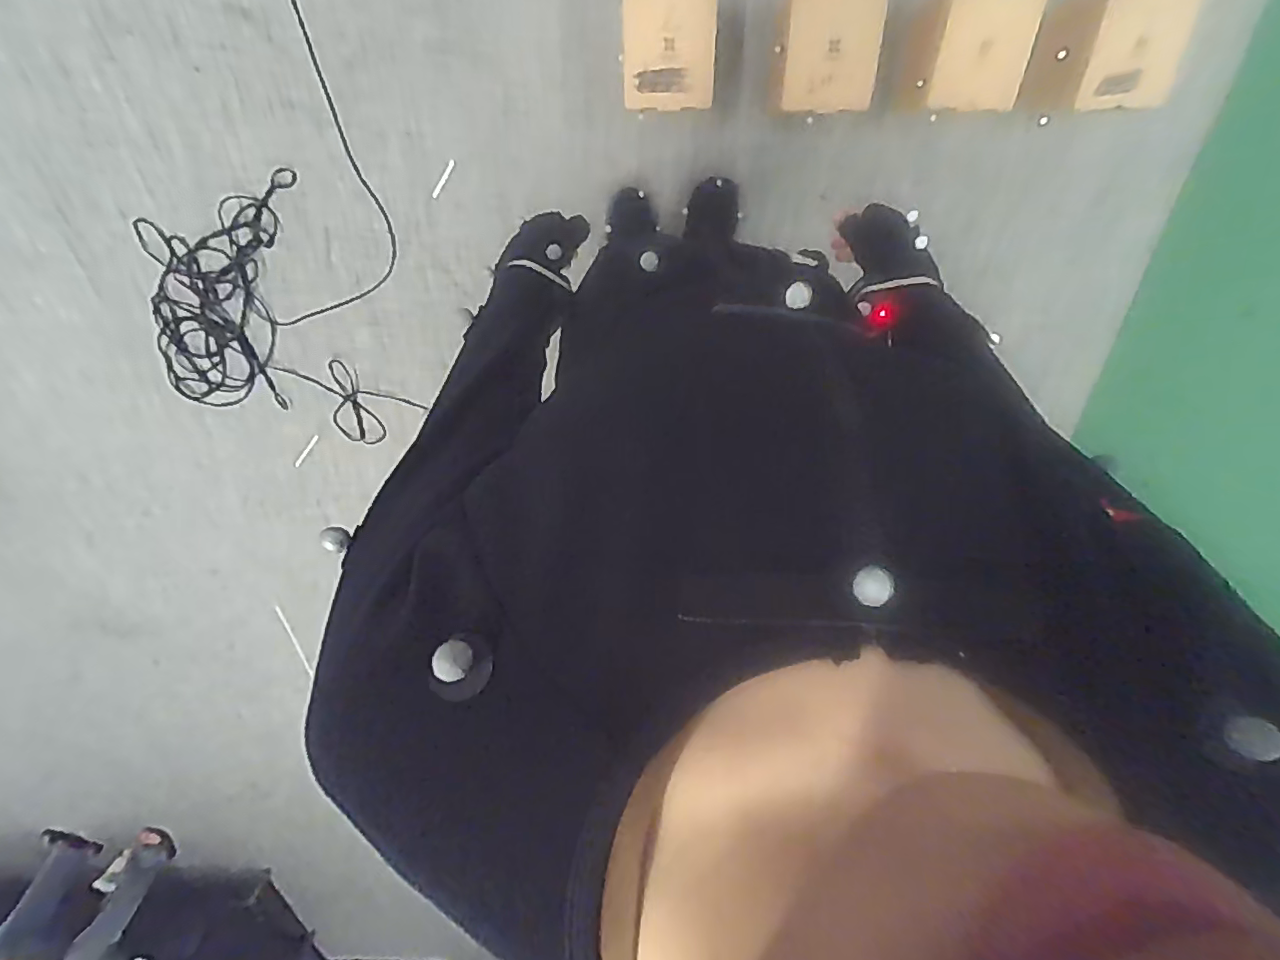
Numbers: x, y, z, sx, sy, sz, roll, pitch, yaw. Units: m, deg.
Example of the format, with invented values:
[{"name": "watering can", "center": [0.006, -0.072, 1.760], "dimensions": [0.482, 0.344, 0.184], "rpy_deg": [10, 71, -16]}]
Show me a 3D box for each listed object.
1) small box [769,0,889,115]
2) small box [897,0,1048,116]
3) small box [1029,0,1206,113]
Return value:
[{"name": "small box", "center": [0.349, -0.807, 1.030], "dimensions": [0.168, 0.176, 0.179], "rpy_deg": [1, 122, 2]}, {"name": "small box", "center": [0.616, -0.806, 1.028], "dimensions": [0.168, 0.176, 0.179], "rpy_deg": [2, 122, 0]}, {"name": "small box", "center": [0.885, -0.803, 1.024], "dimensions": [0.168, 0.176, 0.179], "rpy_deg": [-1, 121, 2]}]
